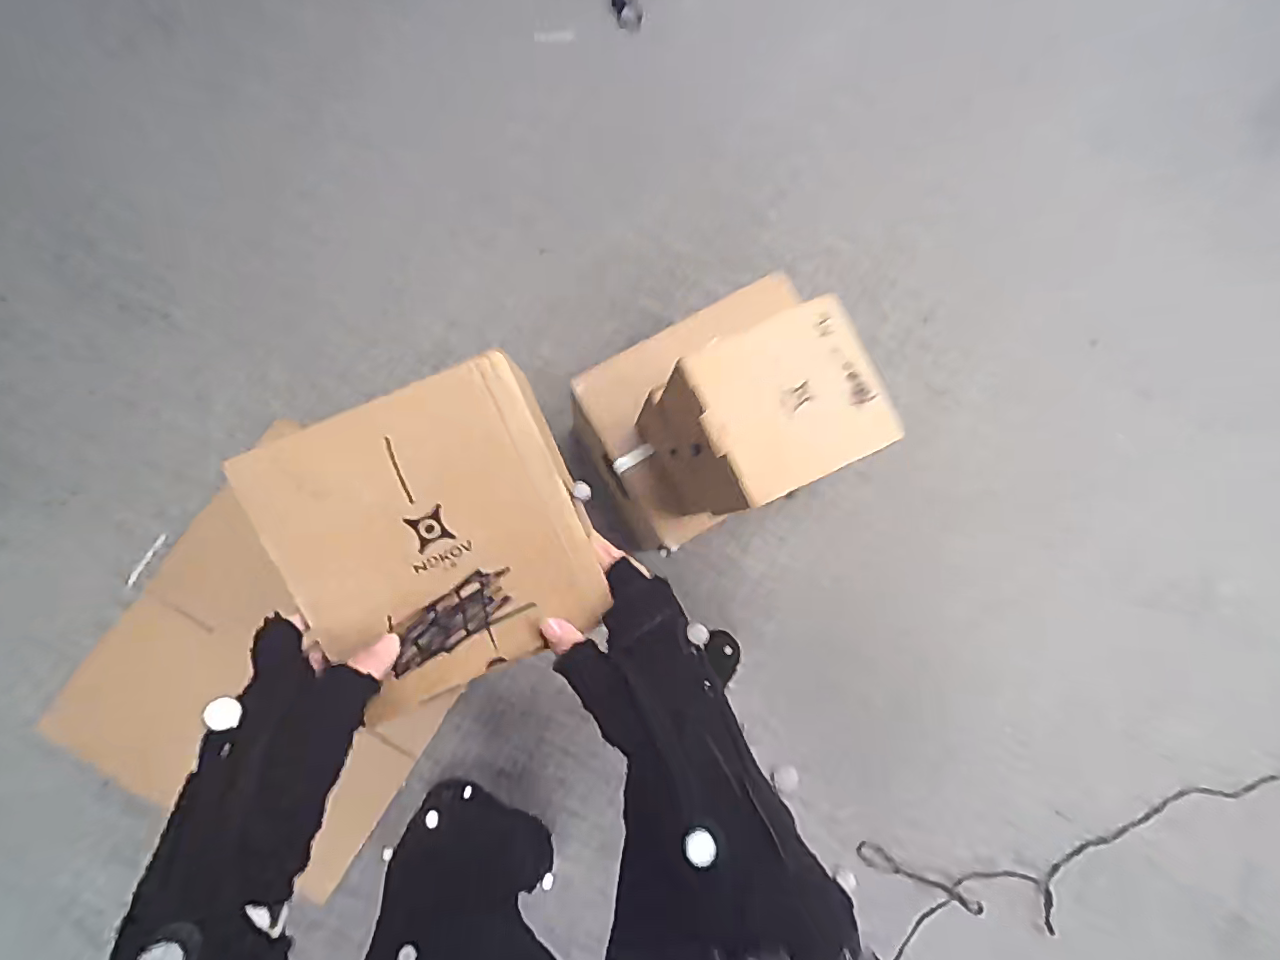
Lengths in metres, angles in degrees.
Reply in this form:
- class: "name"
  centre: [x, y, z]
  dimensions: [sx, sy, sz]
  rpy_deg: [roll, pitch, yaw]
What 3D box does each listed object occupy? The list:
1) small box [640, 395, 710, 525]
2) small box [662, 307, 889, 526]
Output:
- class: "small box"
  centre: [0.111, -0.047, 0.780]
  dimensions: [0.168, 0.176, 0.179]
  rpy_deg: [-28, 86, -8]
- class: "small box"
  centre: [0.135, -0.059, 0.621]
  dimensions: [0.179, 0.176, 0.168]
  rpy_deg: [-27, 83, -9]
